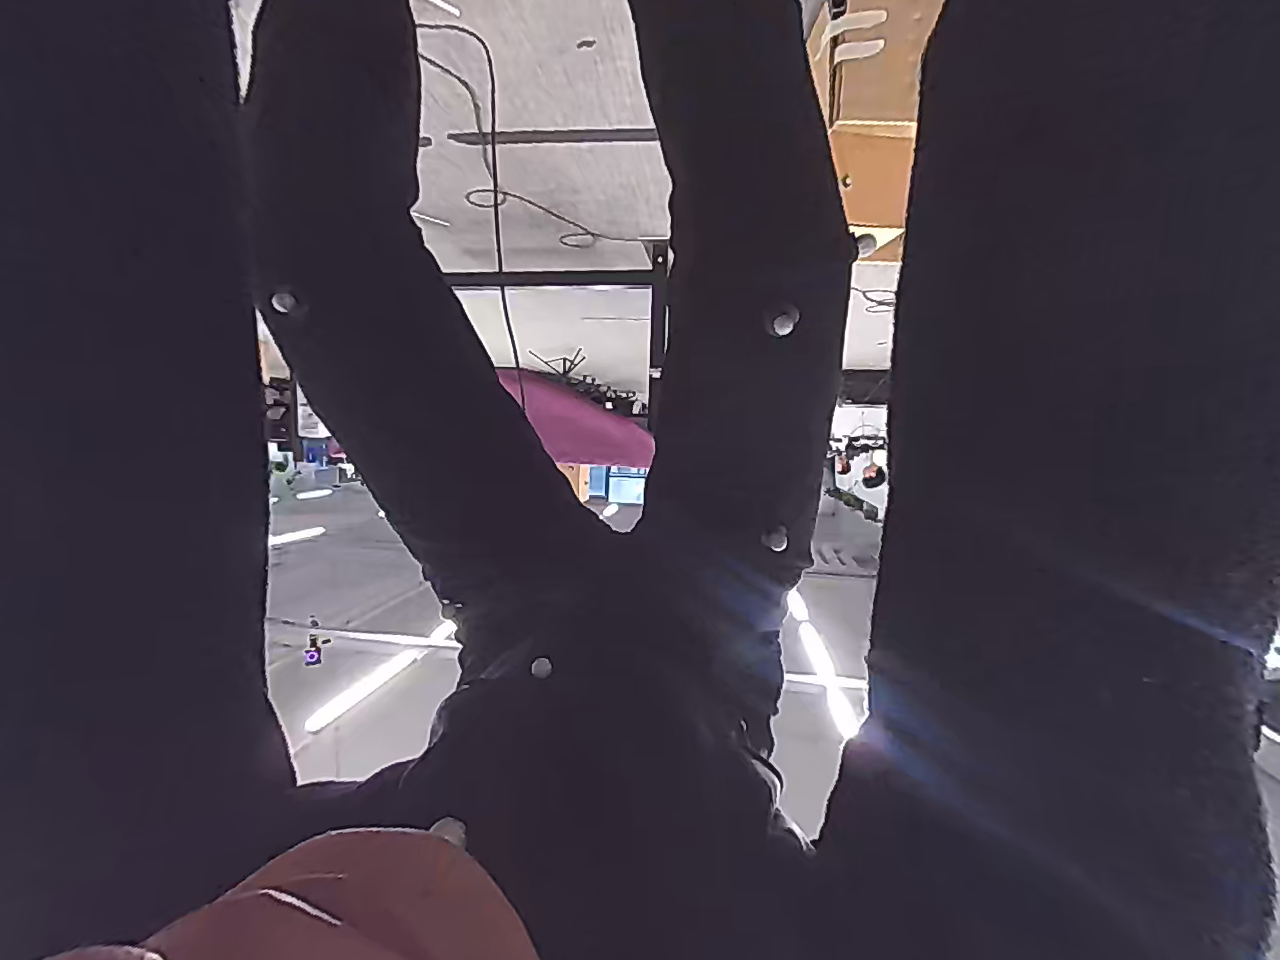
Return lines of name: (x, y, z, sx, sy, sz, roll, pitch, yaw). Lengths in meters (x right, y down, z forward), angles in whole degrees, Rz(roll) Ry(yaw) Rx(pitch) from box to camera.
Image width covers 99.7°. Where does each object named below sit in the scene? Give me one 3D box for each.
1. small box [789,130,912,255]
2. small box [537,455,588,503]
small box: (0.419, -0.575, 1.092, 0.179, 0.176, 0.168, 1, -175, -6)
small box: (-0.299, -0.009, 2.092, 0.168, 0.176, 0.179, 3, -174, 7)
